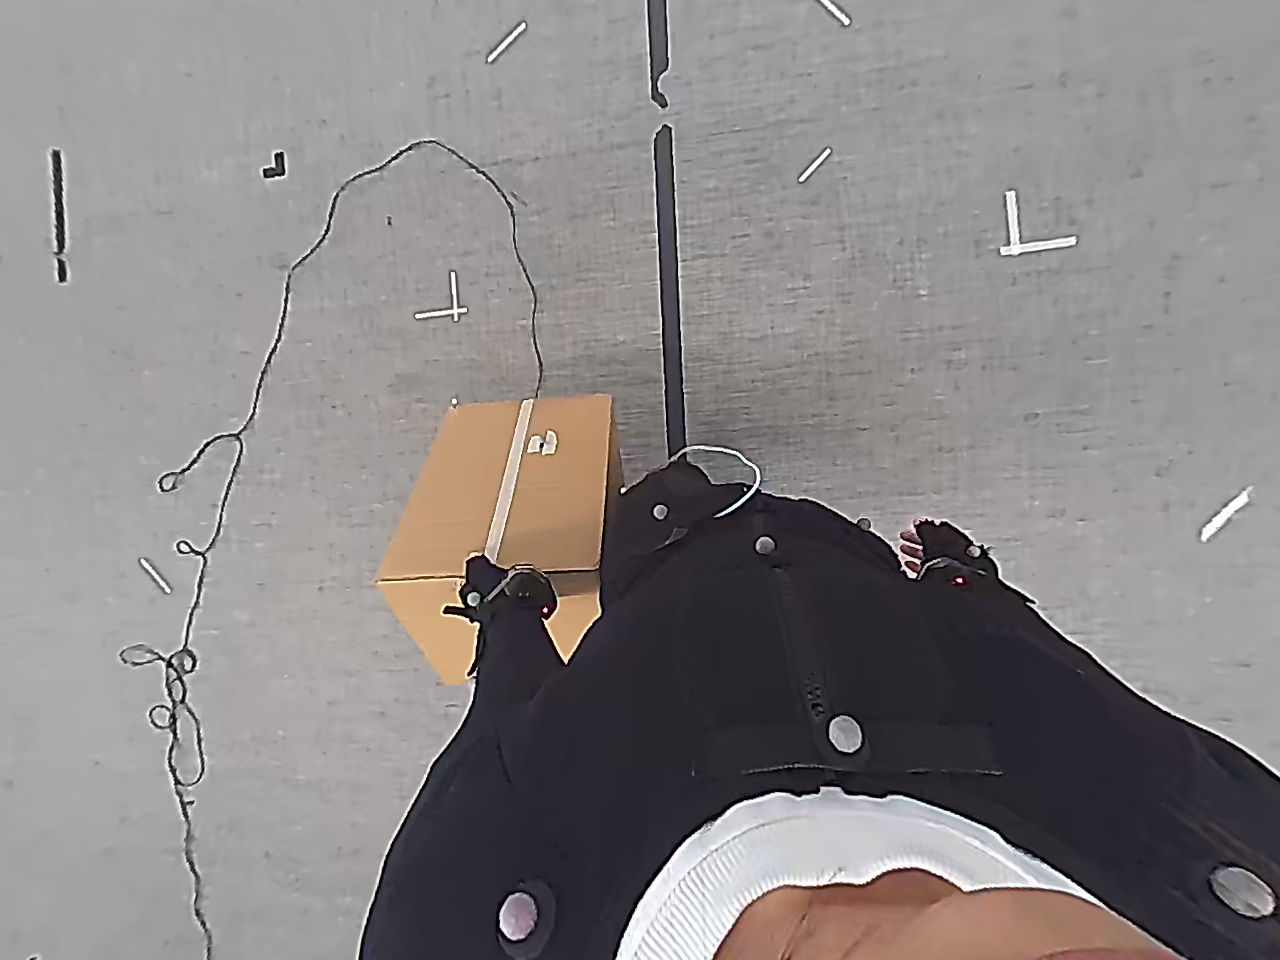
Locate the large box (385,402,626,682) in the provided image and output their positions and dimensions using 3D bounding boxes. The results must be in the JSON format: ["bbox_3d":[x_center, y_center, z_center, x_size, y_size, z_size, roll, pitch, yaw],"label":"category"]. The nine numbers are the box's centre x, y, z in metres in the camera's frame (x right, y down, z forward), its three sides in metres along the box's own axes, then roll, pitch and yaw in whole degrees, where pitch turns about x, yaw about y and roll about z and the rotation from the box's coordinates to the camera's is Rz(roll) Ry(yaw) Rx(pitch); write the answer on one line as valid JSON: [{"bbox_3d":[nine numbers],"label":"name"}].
[{"bbox_3d":[-0.195,0.106,0.990,0.320,0.408,0.320,-3,133,4],"label":"large box"}]
